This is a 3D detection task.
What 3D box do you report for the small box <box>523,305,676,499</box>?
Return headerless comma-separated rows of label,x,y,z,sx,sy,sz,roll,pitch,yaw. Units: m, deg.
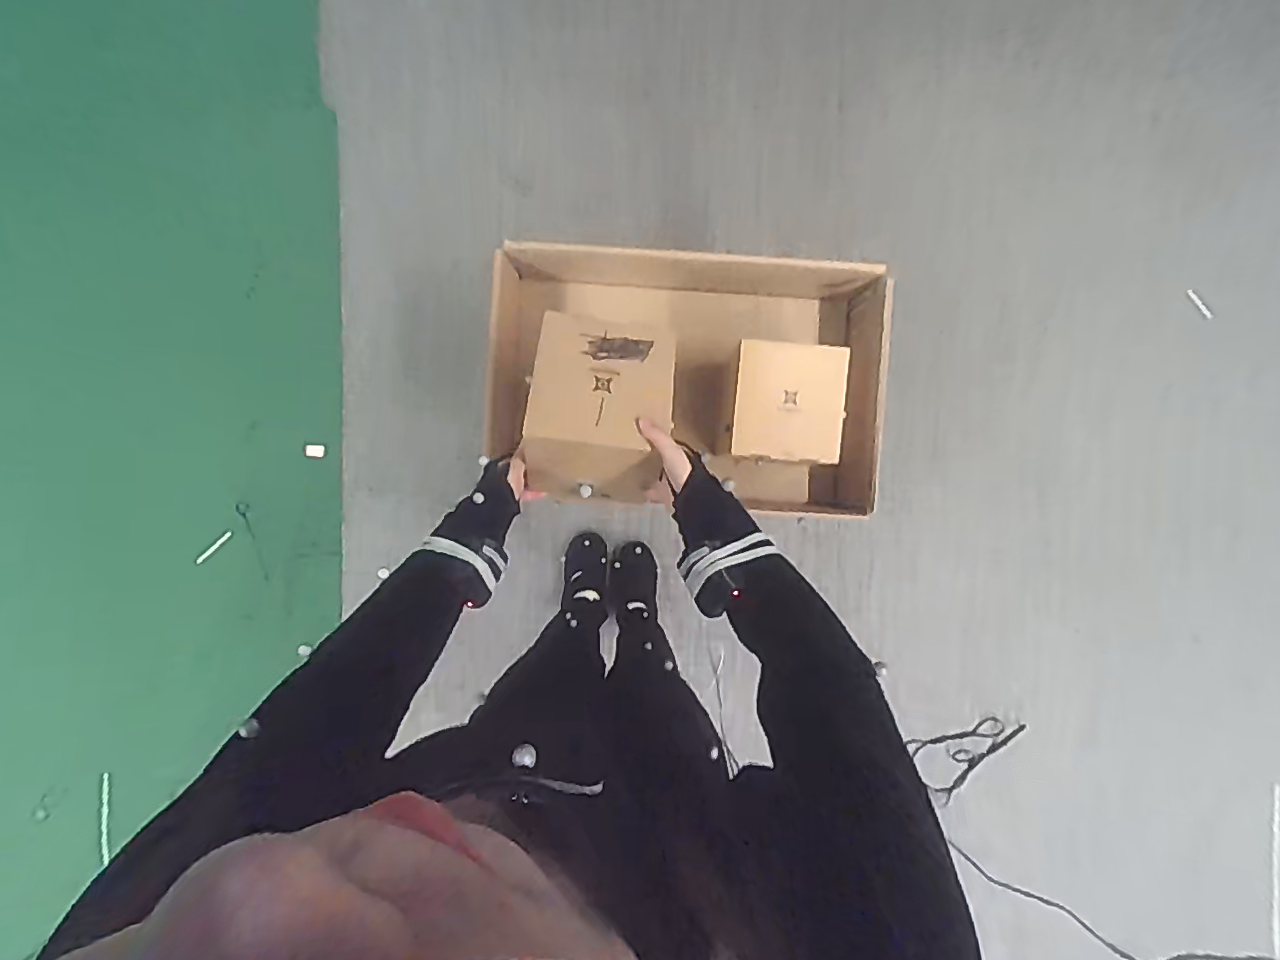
small box,-0.054,-0.094,0.707,0.168,0.176,0.179,8,66,-5
